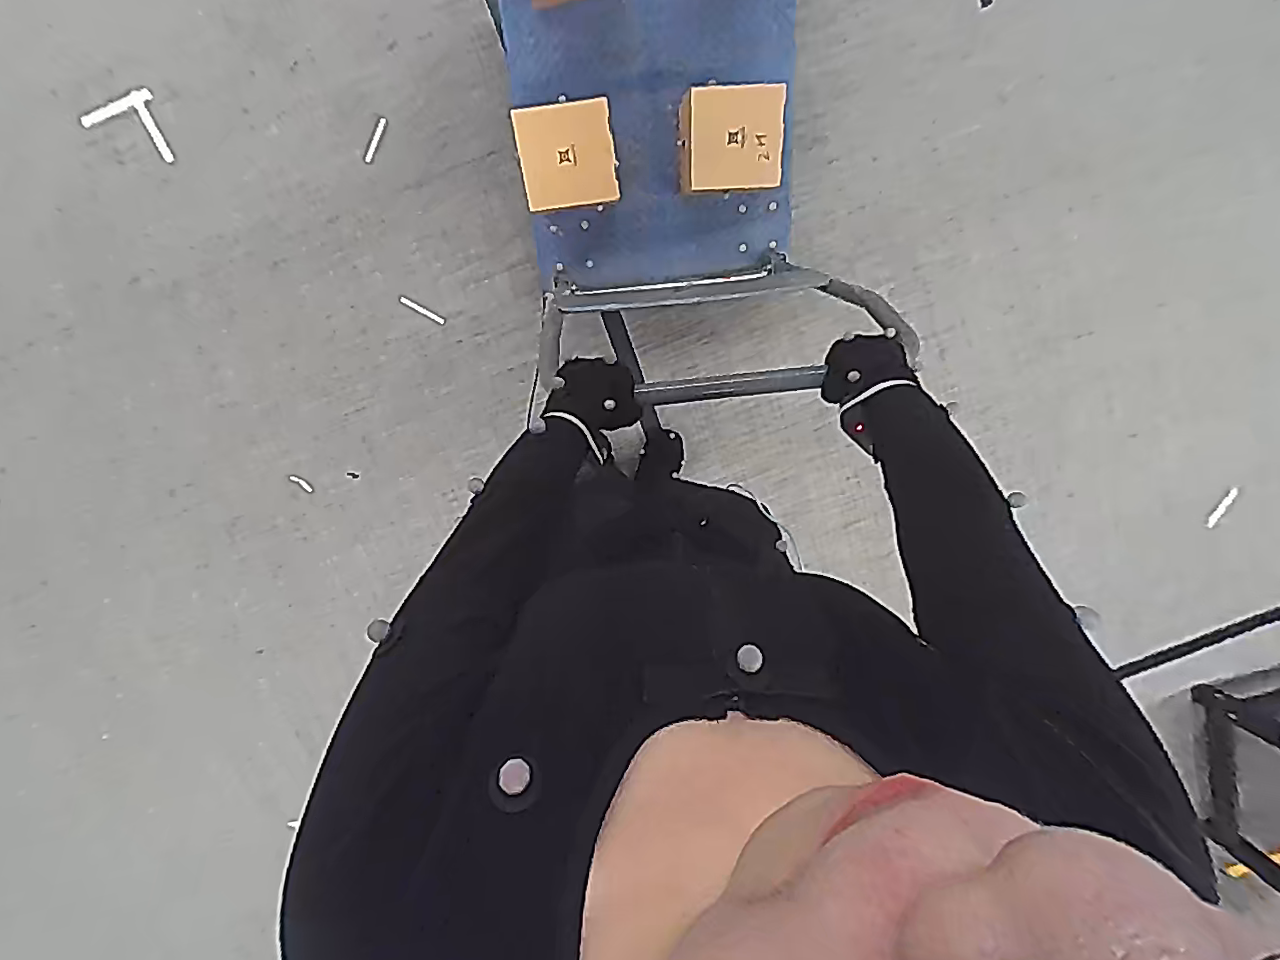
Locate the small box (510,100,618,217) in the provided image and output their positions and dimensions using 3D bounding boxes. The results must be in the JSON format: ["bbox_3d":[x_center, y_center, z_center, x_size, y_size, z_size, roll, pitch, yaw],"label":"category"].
[{"bbox_3d":[-0.142,-0.622,1.064,0.179,0.176,0.168,-10,115,-2],"label":"small box"}]

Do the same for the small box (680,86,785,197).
[{"bbox_3d":[0.172,-0.661,1.072,0.179,0.176,0.168,-4,115,-3],"label":"small box"}]
